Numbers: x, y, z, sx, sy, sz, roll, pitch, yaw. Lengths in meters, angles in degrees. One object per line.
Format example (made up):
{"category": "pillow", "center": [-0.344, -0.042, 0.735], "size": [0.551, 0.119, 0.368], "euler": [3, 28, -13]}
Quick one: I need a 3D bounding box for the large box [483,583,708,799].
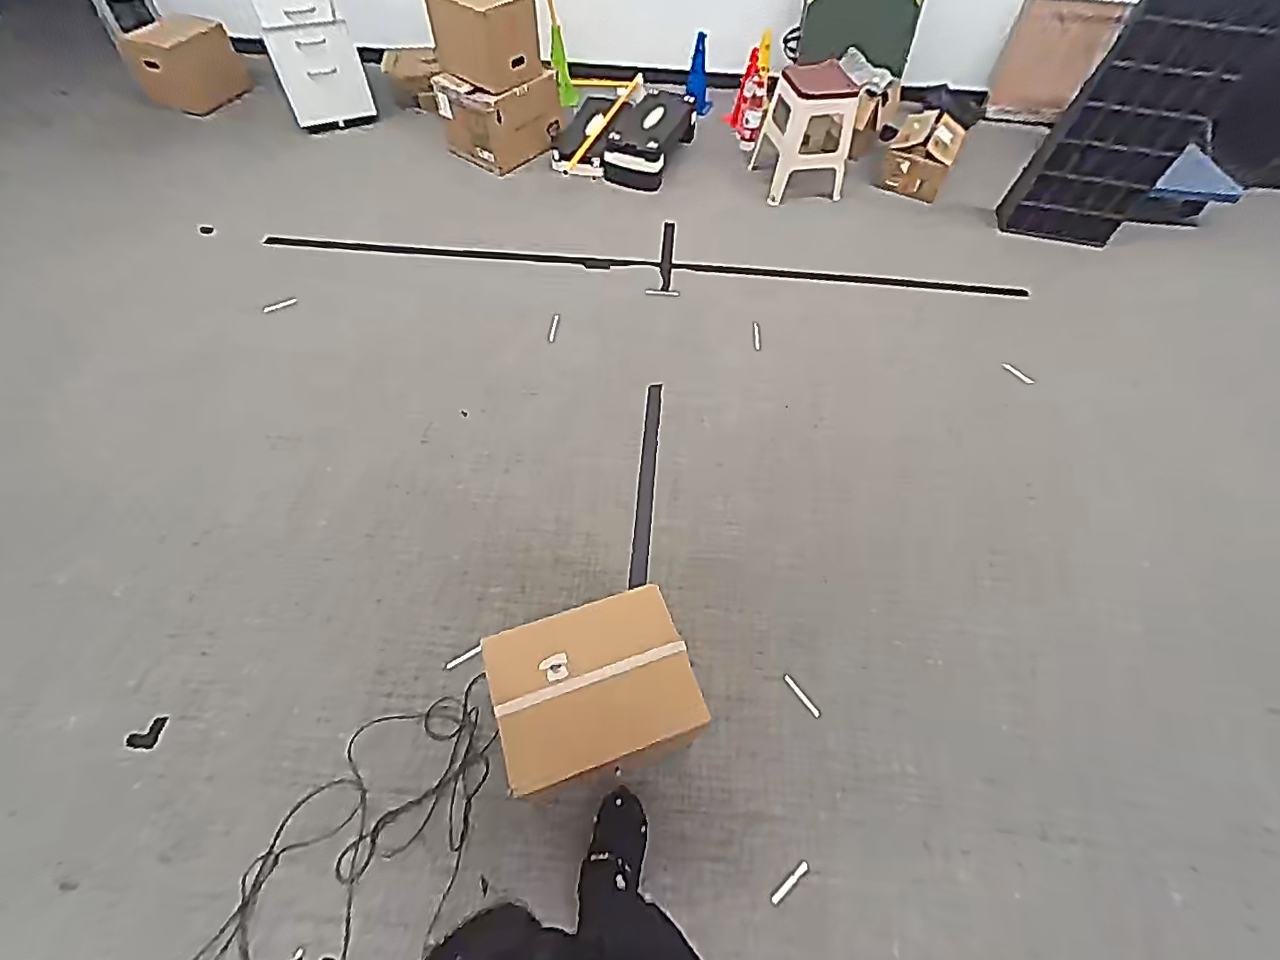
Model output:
{"category": "large box", "center": [-0.102, 0.487, 1.240], "size": [0.408, 0.320, 0.320], "euler": [-16, 59, -12]}
